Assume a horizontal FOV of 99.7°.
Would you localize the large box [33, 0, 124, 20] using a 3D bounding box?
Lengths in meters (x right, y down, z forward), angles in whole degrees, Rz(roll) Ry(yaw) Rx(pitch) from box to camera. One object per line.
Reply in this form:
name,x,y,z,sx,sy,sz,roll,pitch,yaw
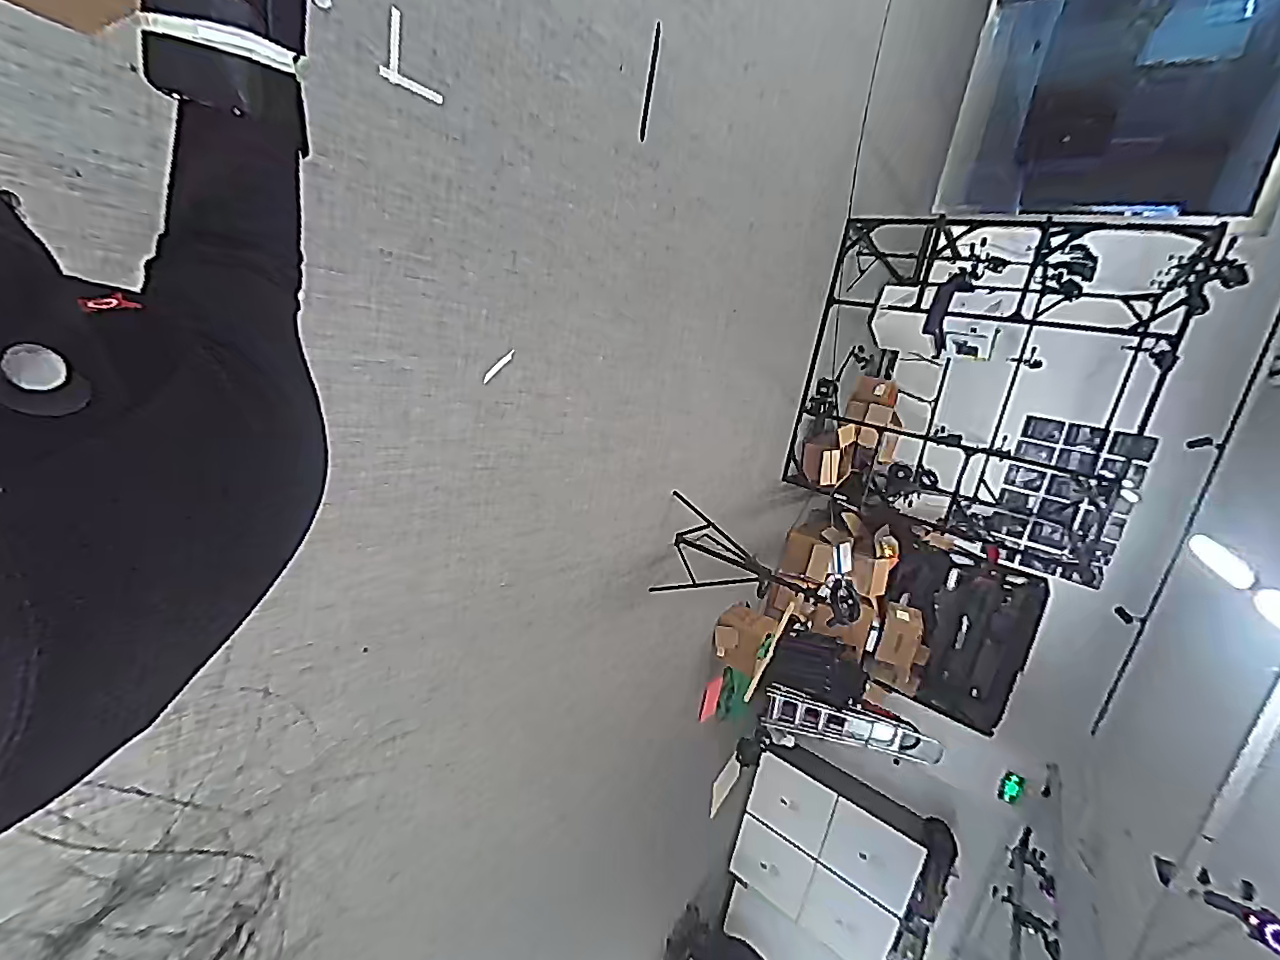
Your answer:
large box,-0.456,-0.484,0.205,0.408,0.320,0.320,-7,116,-55
